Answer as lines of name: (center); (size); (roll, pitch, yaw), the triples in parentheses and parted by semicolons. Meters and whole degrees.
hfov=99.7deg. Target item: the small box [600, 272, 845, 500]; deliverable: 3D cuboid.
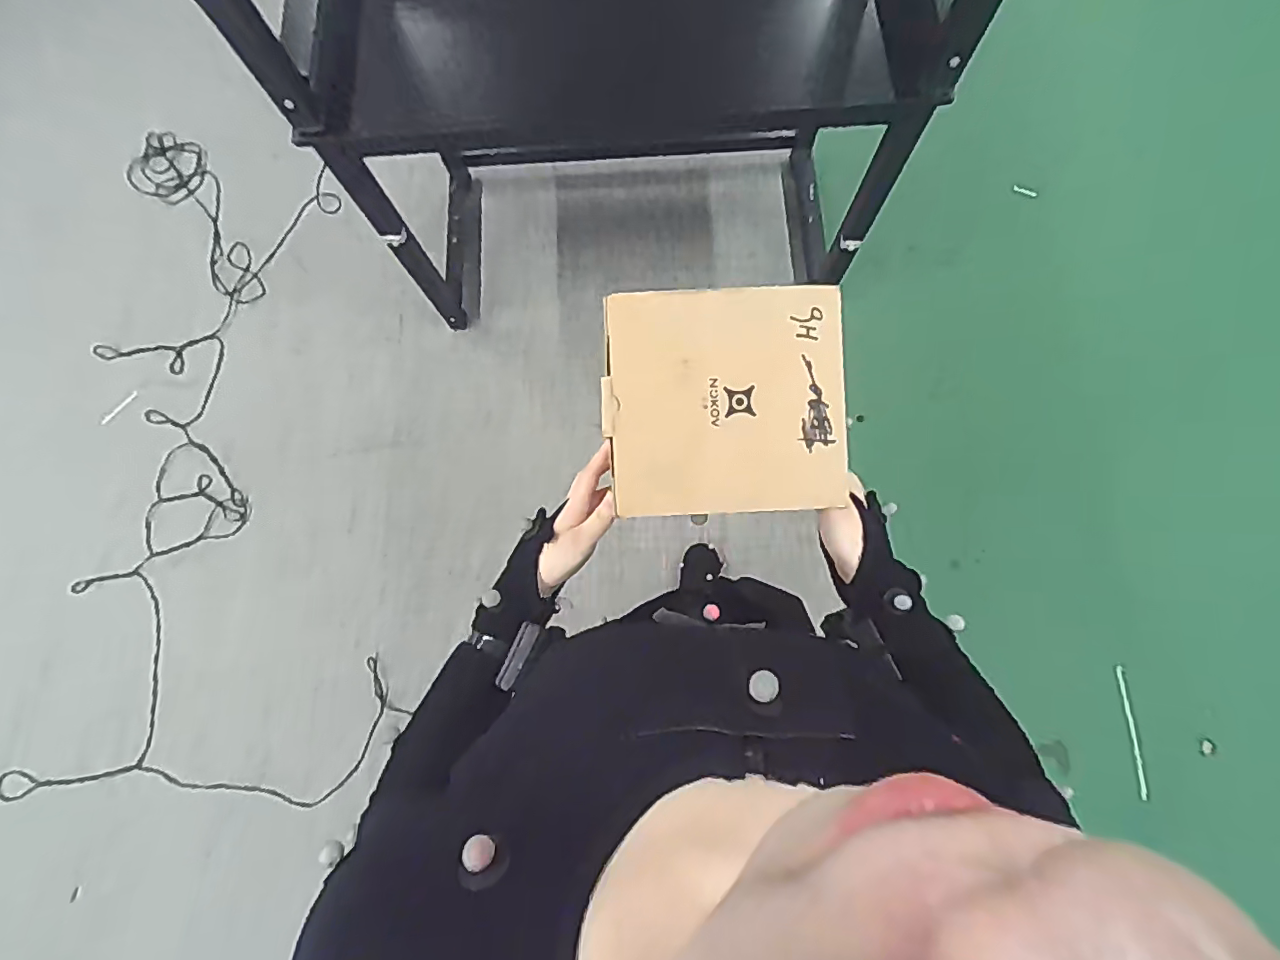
small box: (0.061, -0.068, 0.473); (0.179, 0.176, 0.168); (-2, 91, 0)
